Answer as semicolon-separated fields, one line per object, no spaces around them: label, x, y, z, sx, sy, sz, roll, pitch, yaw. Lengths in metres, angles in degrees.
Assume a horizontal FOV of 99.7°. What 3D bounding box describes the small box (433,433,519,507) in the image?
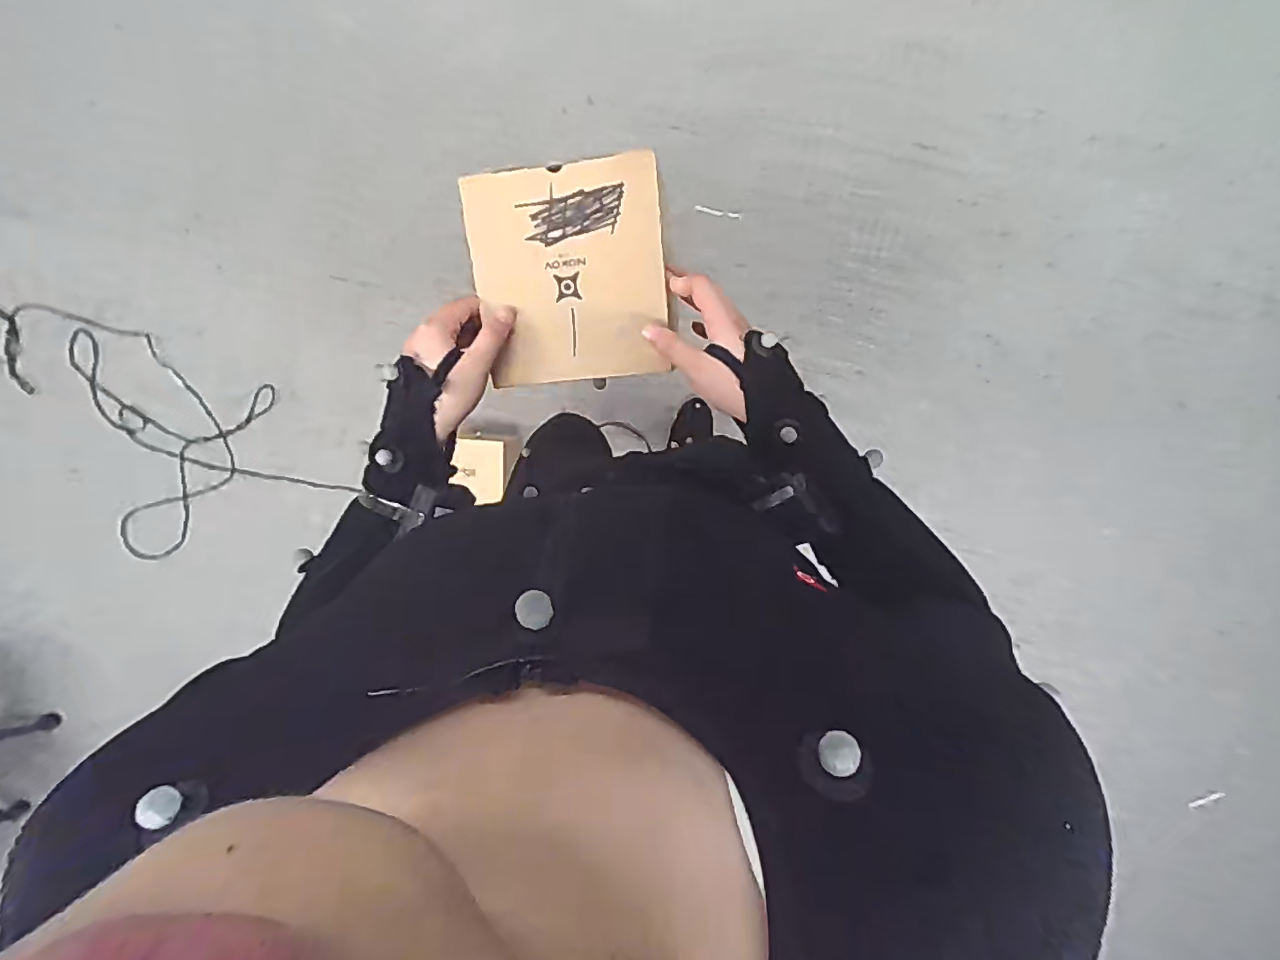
small box;-0.420;-0.031;1.409;0.179;0.176;0.168;3;100;3

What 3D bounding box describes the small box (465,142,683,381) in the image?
small box;-0.047;-0.193;0.524;0.168;0.176;0.179;-3;104;8
